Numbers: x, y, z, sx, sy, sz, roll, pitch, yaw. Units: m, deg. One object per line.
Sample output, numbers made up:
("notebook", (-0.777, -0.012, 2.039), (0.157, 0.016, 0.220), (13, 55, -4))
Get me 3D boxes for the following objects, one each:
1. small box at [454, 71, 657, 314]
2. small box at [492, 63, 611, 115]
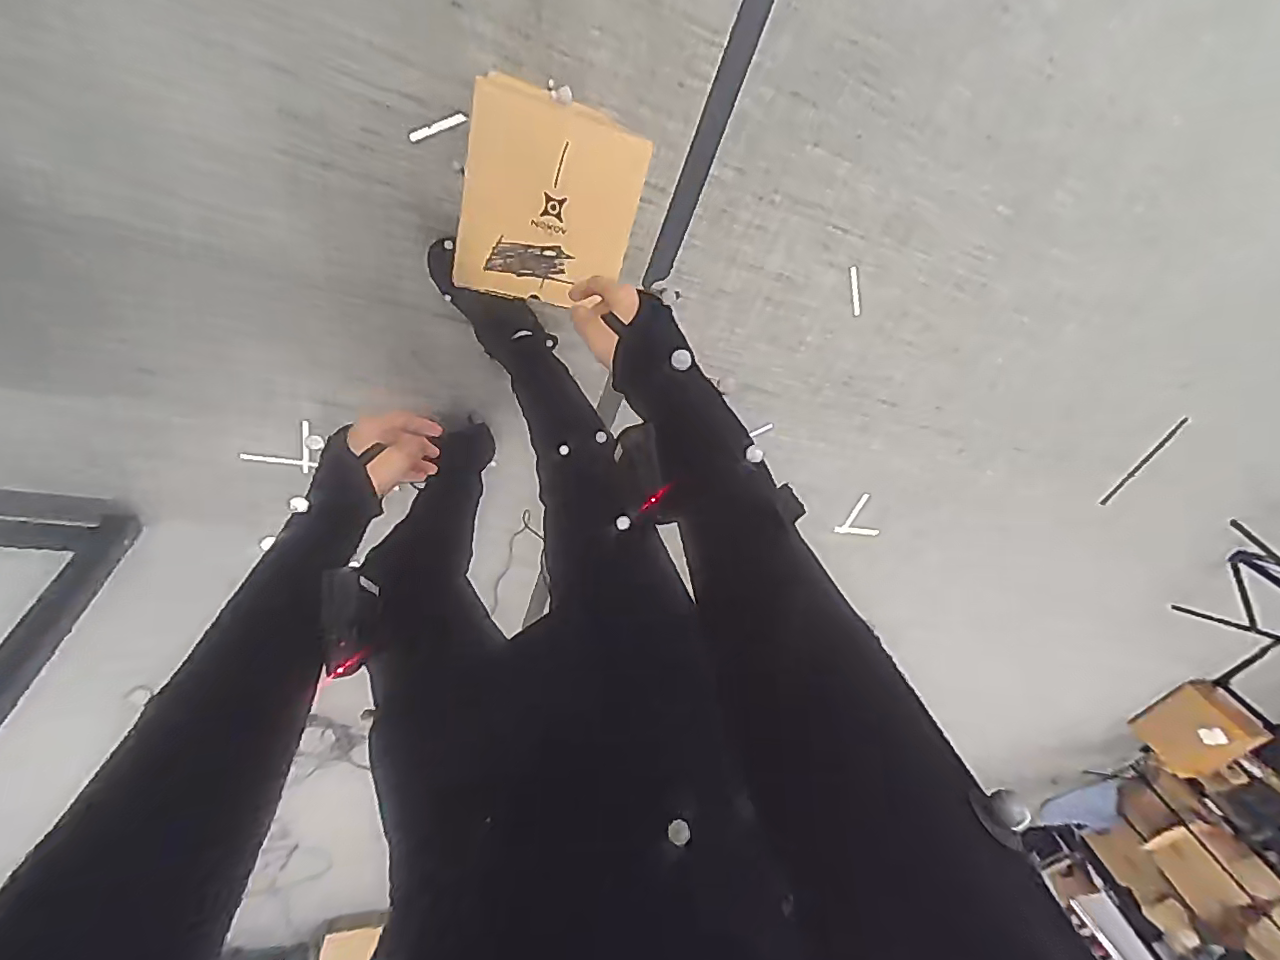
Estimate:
("small box", (-0.100, -0.307, 0.581), (0.168, 0.176, 0.179), (7, 125, -21))
("small box", (-0.158, -0.511, 0.833), (0.168, 0.176, 0.179), (8, 126, -21))
